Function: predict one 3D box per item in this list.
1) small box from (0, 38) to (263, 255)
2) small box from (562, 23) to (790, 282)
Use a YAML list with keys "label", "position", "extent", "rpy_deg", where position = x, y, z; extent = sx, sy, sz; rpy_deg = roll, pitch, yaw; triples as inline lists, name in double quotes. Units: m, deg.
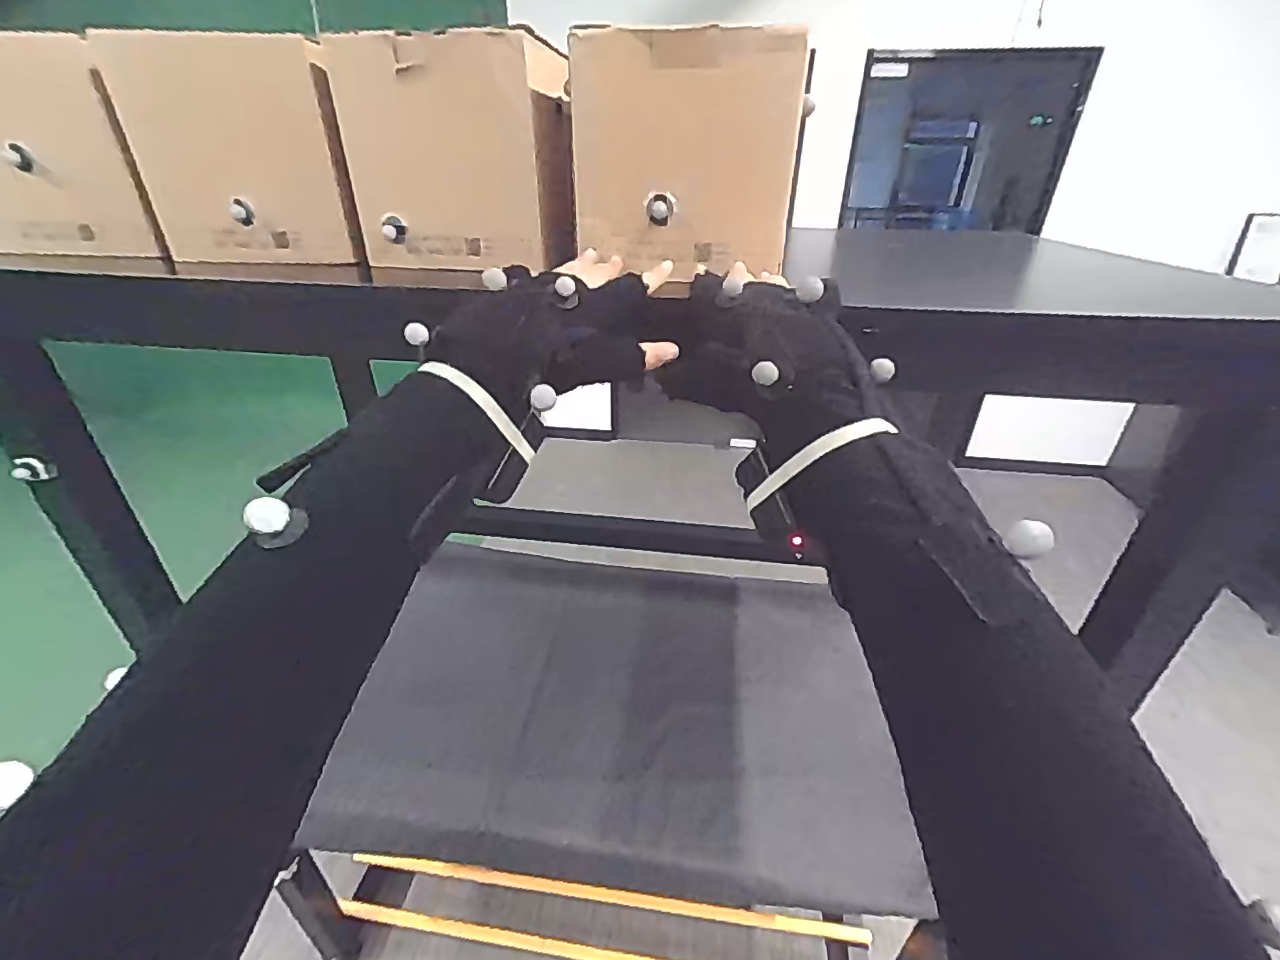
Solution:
- label: "small box"
  position: [-0.535, -0.332, 0.558]
  extent: [0.168, 0.176, 0.179]
  rpy_deg: [2, 28, 0]
- label: "small box"
  position: [0.033, -0.284, 0.488]
  extent: [0.168, 0.176, 0.179]
  rpy_deg: [5, 30, 7]
